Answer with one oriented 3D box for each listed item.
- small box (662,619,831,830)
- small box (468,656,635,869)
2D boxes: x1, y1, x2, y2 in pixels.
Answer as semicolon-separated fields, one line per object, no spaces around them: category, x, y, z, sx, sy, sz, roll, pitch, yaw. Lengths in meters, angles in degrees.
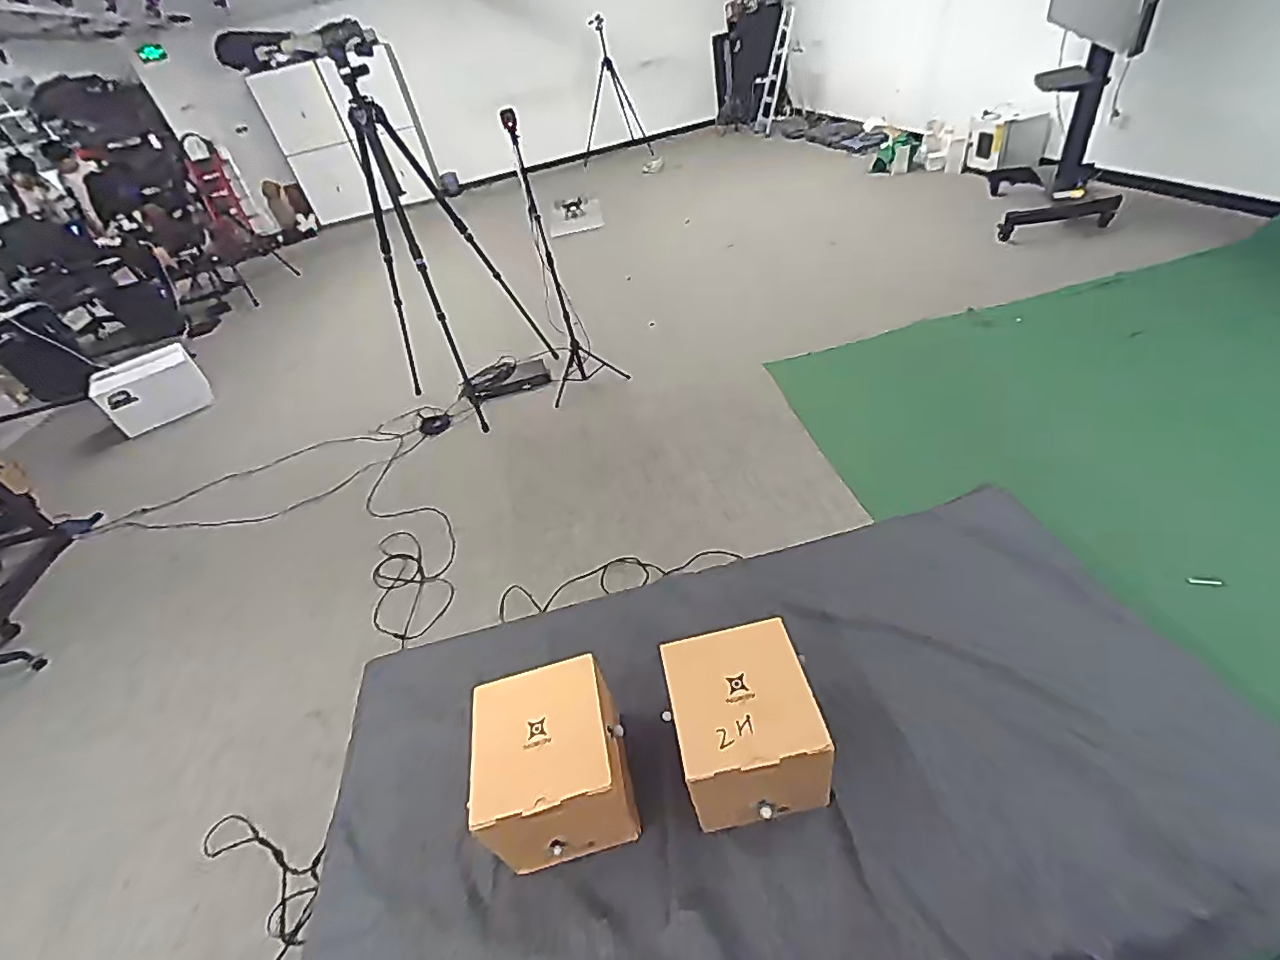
small box;0.130;0.314;0.698;0.168;0.176;0.179;-13;40;1
small box;-0.112;0.368;0.708;0.168;0.176;0.179;-16;40;-2
